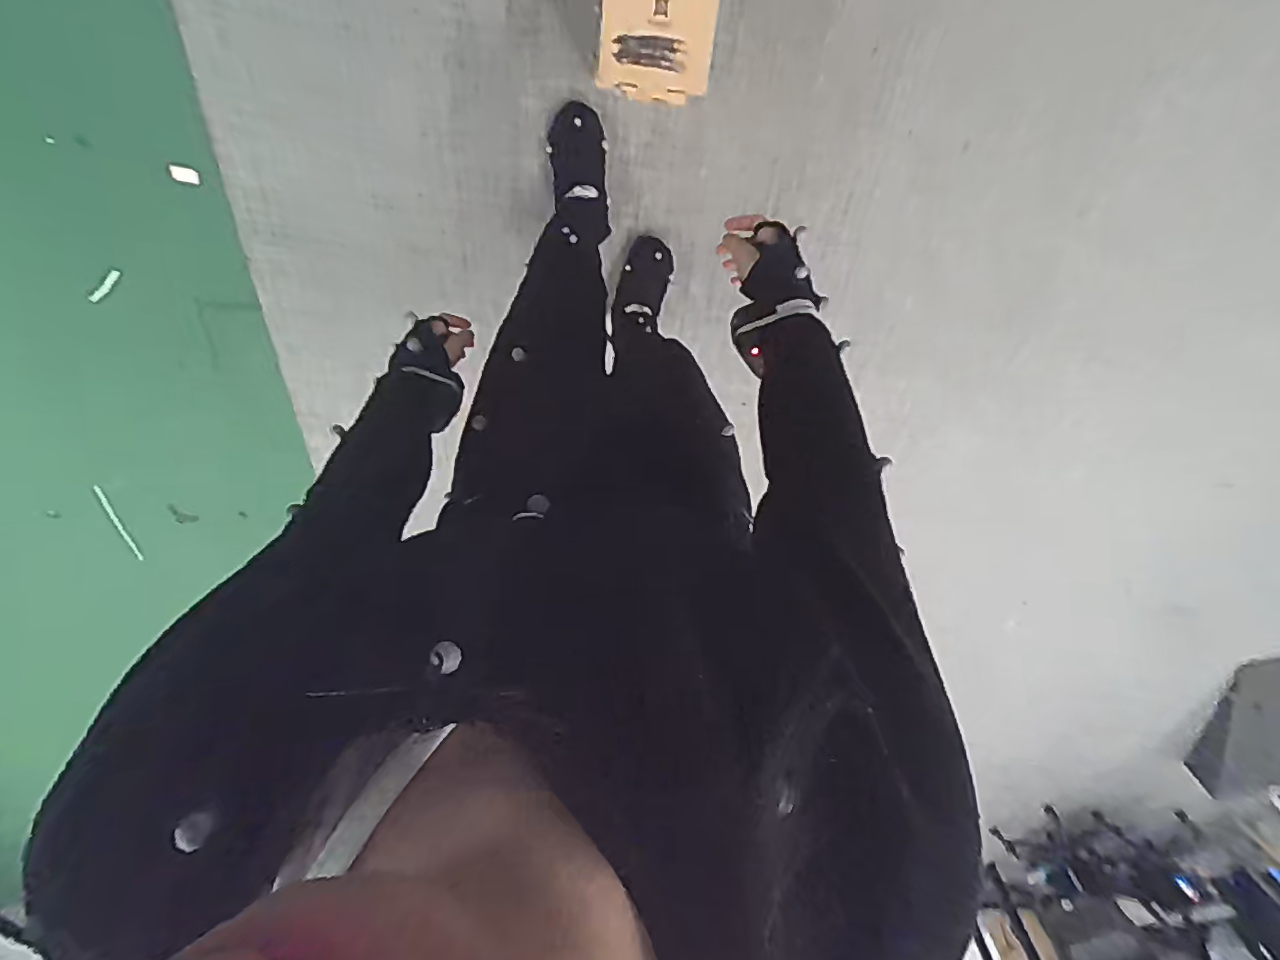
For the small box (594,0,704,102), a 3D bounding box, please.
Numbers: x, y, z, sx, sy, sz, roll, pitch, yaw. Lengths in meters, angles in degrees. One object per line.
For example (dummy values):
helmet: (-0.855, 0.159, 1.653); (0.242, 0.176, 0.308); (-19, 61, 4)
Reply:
small box: (0.010, -0.808, 0.973); (0.168, 0.176, 0.179); (7, 127, -9)
